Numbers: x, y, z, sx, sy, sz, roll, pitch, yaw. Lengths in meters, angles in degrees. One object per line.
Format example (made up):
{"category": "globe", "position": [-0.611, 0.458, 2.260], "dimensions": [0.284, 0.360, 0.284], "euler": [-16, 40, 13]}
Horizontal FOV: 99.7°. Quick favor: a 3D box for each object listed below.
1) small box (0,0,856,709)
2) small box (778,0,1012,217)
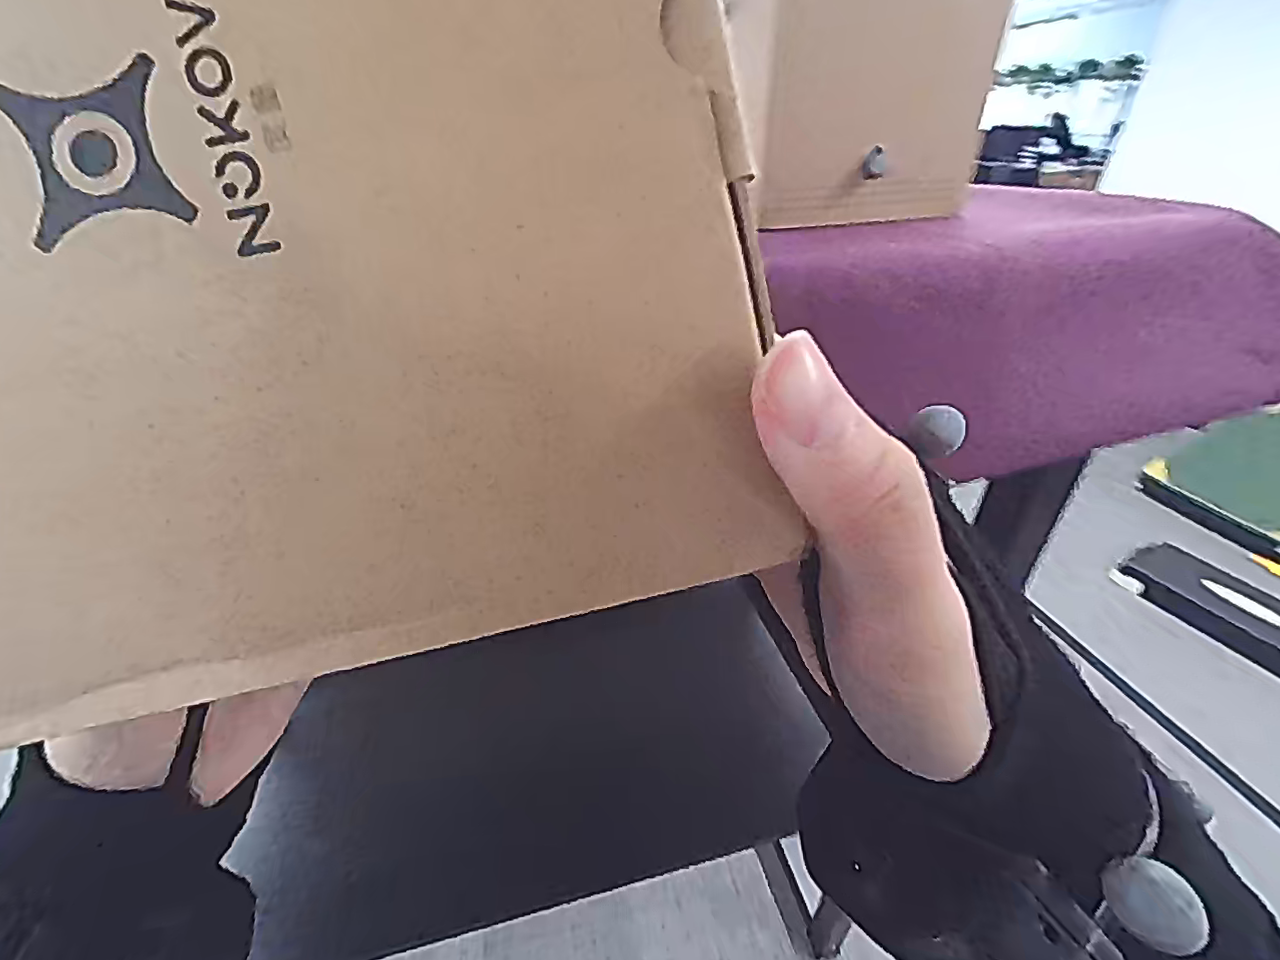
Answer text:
{"category": "small box", "position": [-0.069, -0.063, 0.154], "dimensions": [0.179, 0.168, 0.176], "euler": [-12, 5, -1]}
{"category": "small box", "position": [0.152, -0.316, 0.440], "dimensions": [0.179, 0.176, 0.168], "euler": [-8, 33, -9]}
